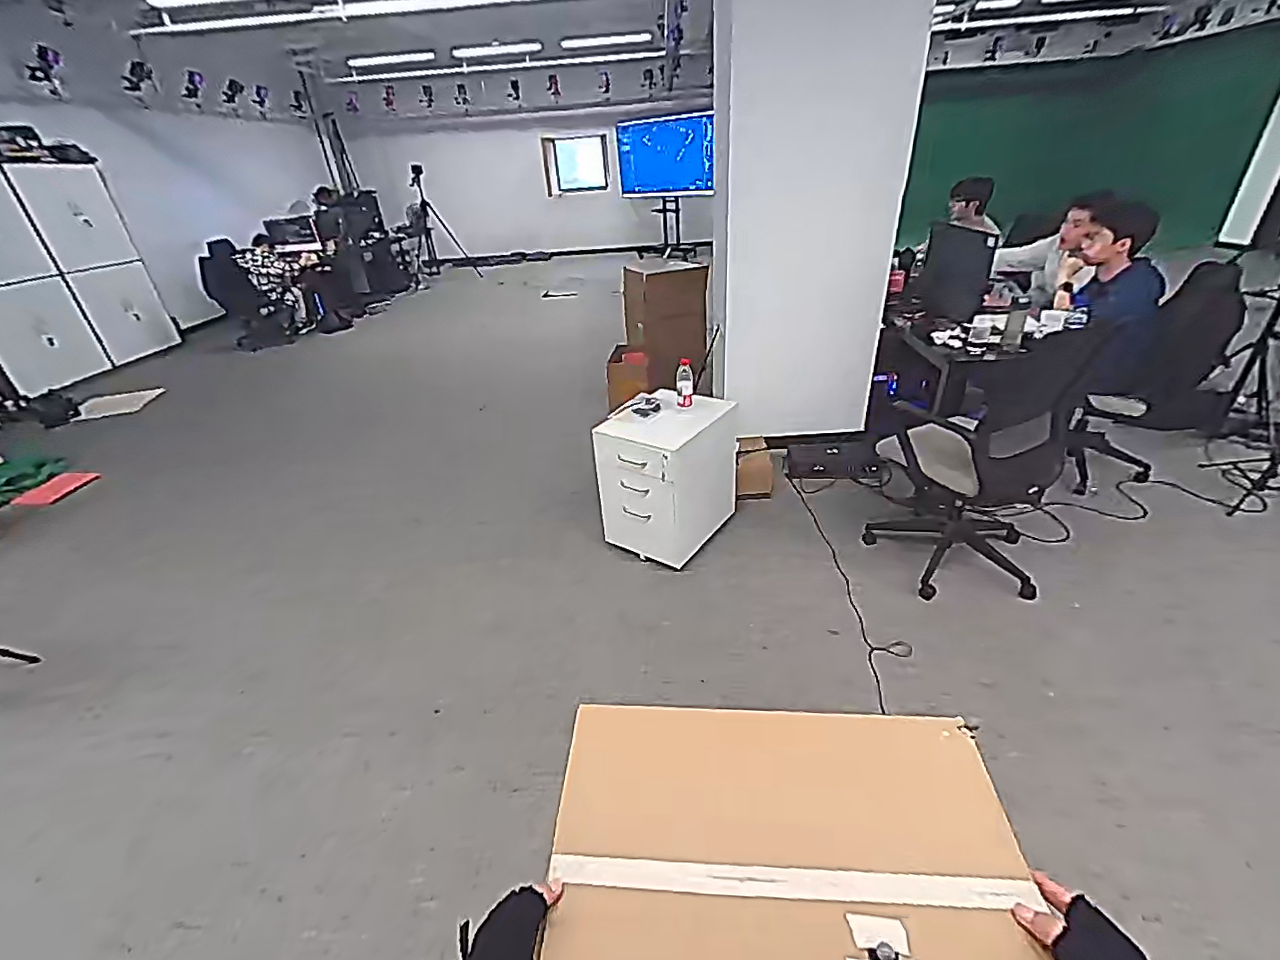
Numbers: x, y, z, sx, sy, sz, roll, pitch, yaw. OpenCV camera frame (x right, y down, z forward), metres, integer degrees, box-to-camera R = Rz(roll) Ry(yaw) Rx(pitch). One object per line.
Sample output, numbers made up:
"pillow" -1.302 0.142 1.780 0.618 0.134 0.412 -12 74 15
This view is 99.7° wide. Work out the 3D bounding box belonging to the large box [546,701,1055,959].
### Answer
"large box" 0.133 0.460 0.559 0.408 0.320 0.320 1 37 6
